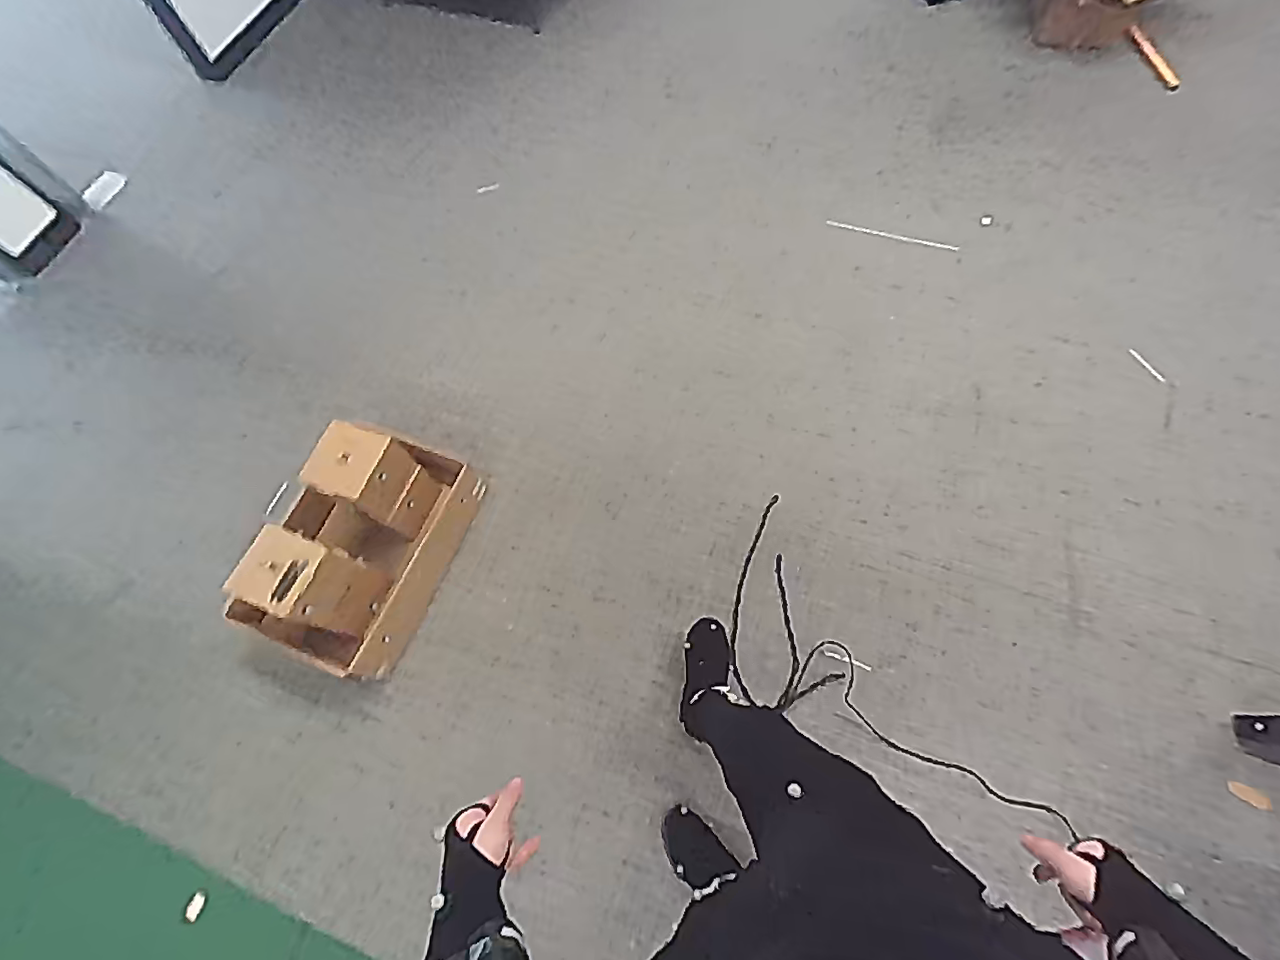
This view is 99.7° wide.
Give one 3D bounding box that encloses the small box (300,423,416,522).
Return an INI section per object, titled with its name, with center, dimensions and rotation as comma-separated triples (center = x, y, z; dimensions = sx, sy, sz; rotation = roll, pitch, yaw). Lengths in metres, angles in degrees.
[small box]
center = -0.705, -0.012, 1.376
dimensions = 0.168, 0.176, 0.179
rotation = 18, 69, 8
